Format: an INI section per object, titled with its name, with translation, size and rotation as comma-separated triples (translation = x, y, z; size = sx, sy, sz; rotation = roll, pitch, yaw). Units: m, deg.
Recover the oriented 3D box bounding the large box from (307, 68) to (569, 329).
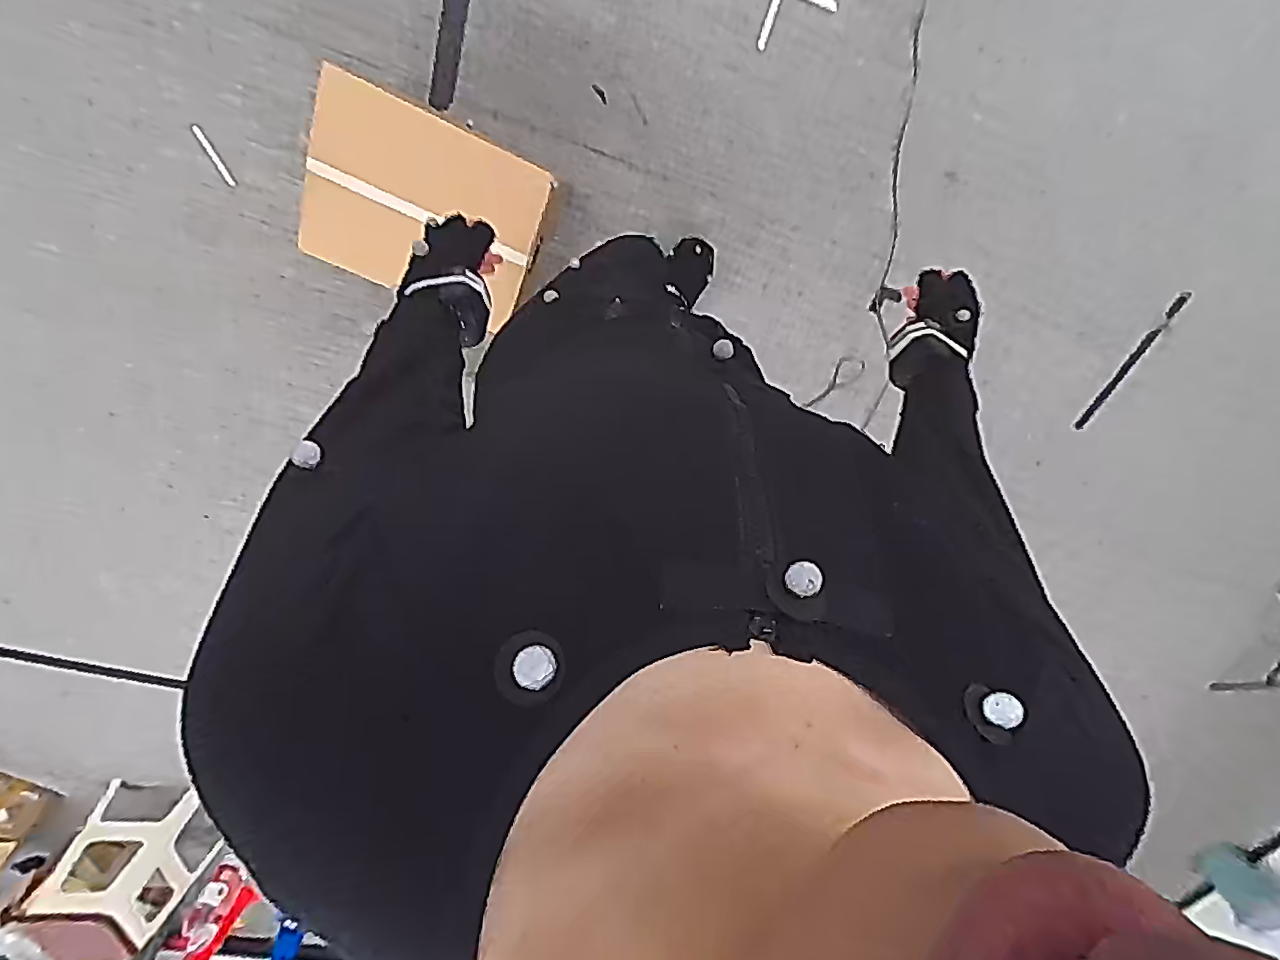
[large box]
translation = -0.394, -0.563, 1.124
size = 0.408, 0.320, 0.320
rotation = 20, 116, -13
